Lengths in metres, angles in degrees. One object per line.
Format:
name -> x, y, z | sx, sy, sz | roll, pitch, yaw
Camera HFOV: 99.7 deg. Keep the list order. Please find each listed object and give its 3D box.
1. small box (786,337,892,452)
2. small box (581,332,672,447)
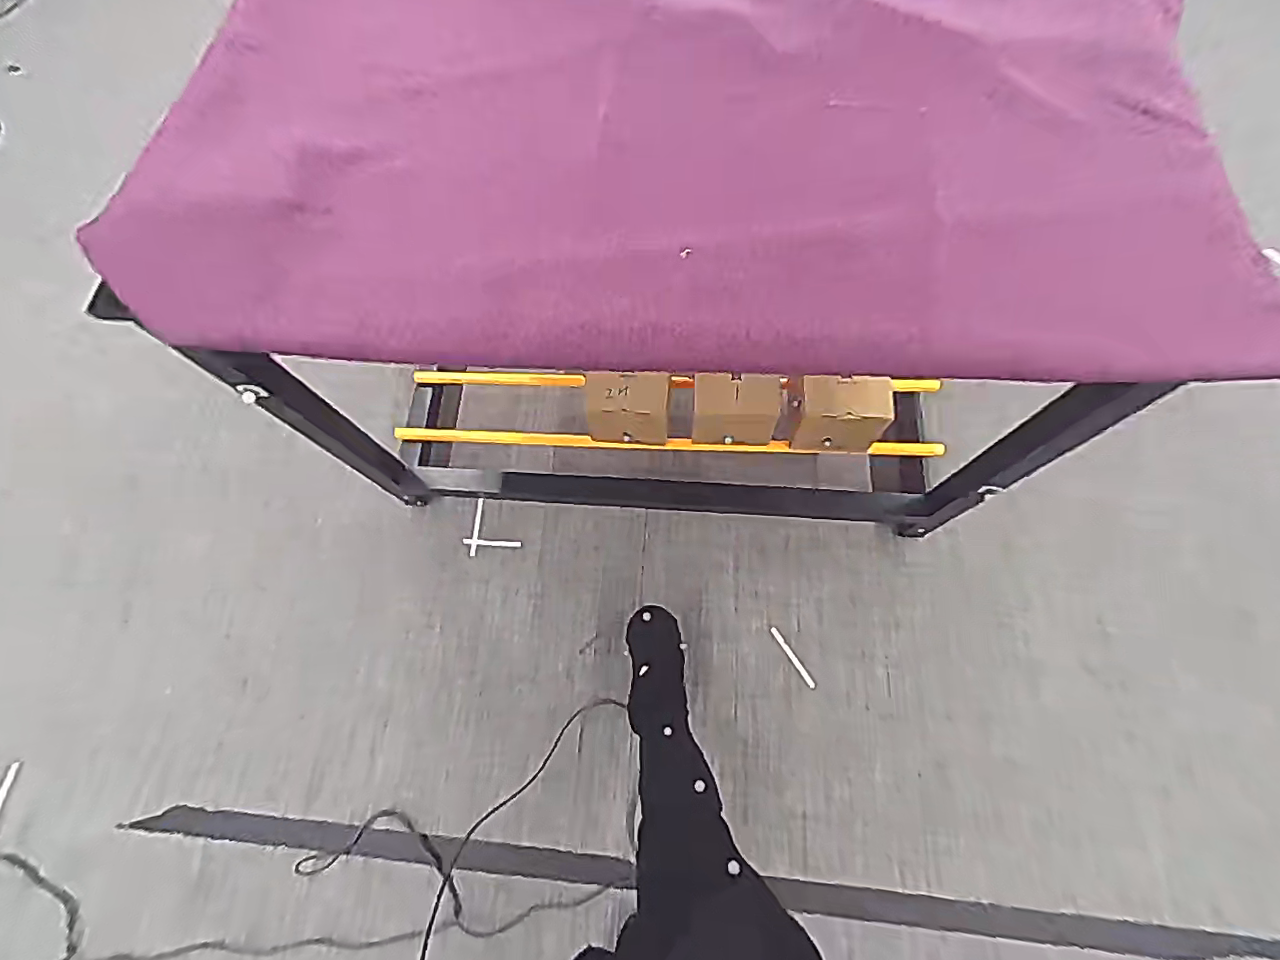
small box -> 0.397, -0.172, 1.110 | 0.168, 0.176, 0.179 | 2, 71, 5
small box -> -0.023, -0.186, 1.138 | 0.168, 0.176, 0.179 | 4, 72, 4
